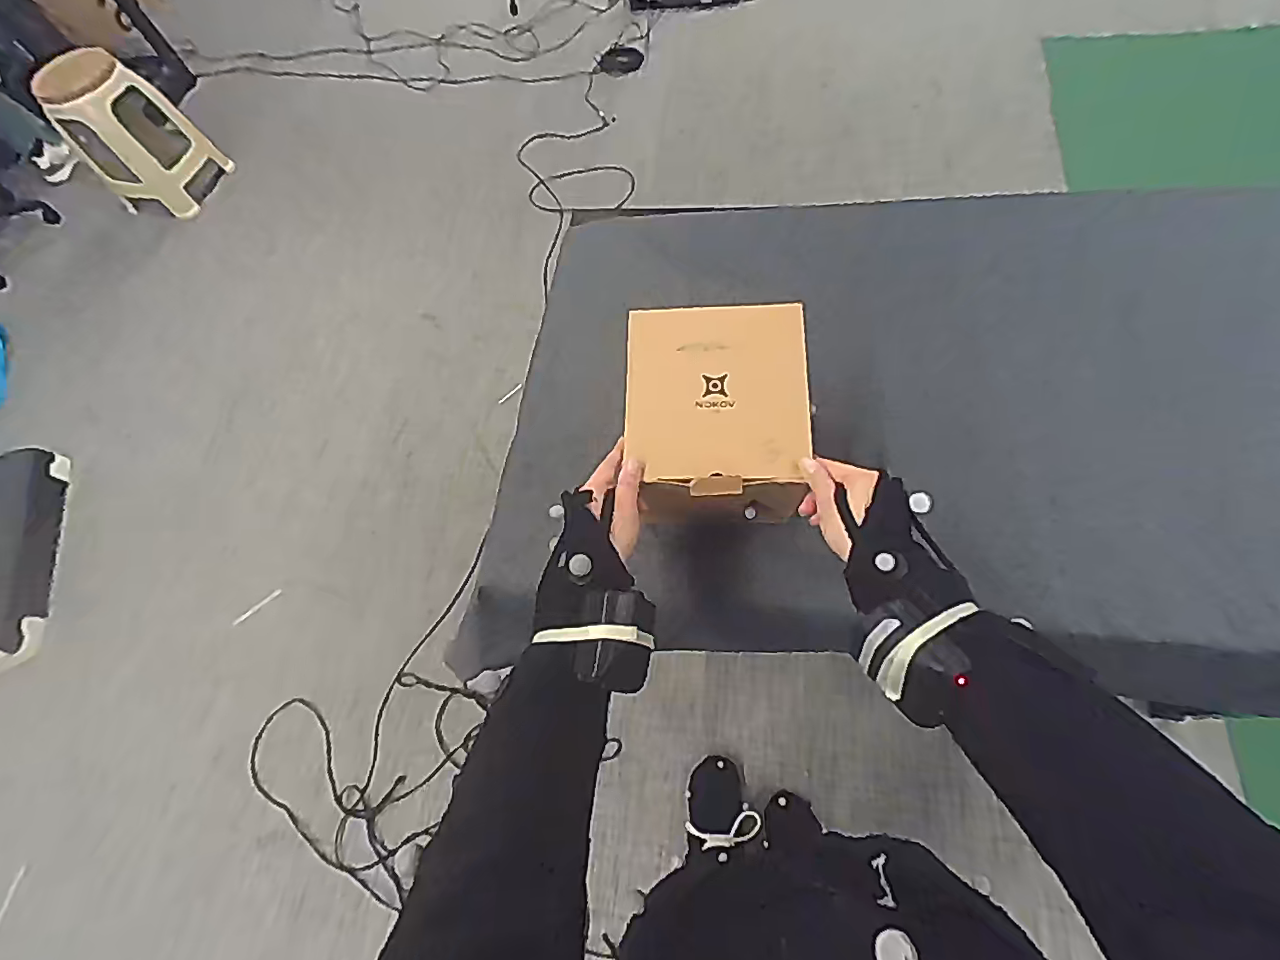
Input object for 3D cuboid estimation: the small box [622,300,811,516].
[{"bbox_3d":[0.076,-0.061,0.565,0.168,0.176,0.179,-1,72,6],"label":"small box"}]
